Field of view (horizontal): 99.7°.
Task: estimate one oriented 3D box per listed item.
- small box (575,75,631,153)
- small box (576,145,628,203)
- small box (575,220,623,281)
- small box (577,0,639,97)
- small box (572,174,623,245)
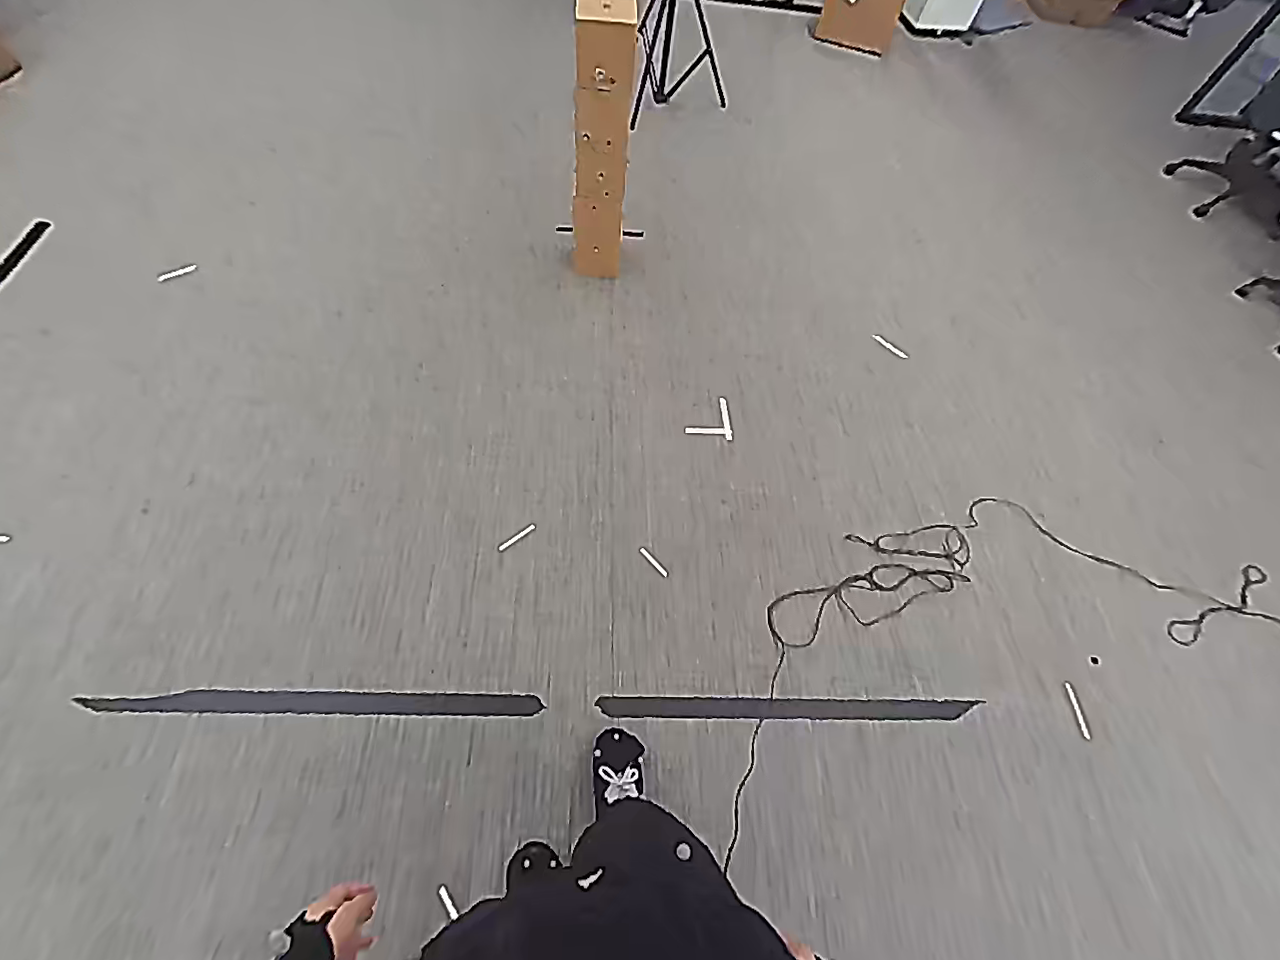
[{"bbox_3d":[-0.112,-1.138,1.664,0.168,0.176,0.179,3,59,-5],"label":"small box"},{"bbox_3d":[-0.125,-1.054,1.805,0.168,0.176,0.179,3,61,-5],"label":"small box"},{"bbox_3d":[-0.160,-0.893,2.088,0.179,0.176,0.168,2,60,-6],"label":"small box"},{"bbox_3d":[-0.093,-1.218,1.524,0.168,0.176,0.179,0,61,-5],"label":"small box"},{"bbox_3d":[-0.150,-0.972,1.943,0.179,0.176,0.168,4,61,-4],"label":"small box"}]
